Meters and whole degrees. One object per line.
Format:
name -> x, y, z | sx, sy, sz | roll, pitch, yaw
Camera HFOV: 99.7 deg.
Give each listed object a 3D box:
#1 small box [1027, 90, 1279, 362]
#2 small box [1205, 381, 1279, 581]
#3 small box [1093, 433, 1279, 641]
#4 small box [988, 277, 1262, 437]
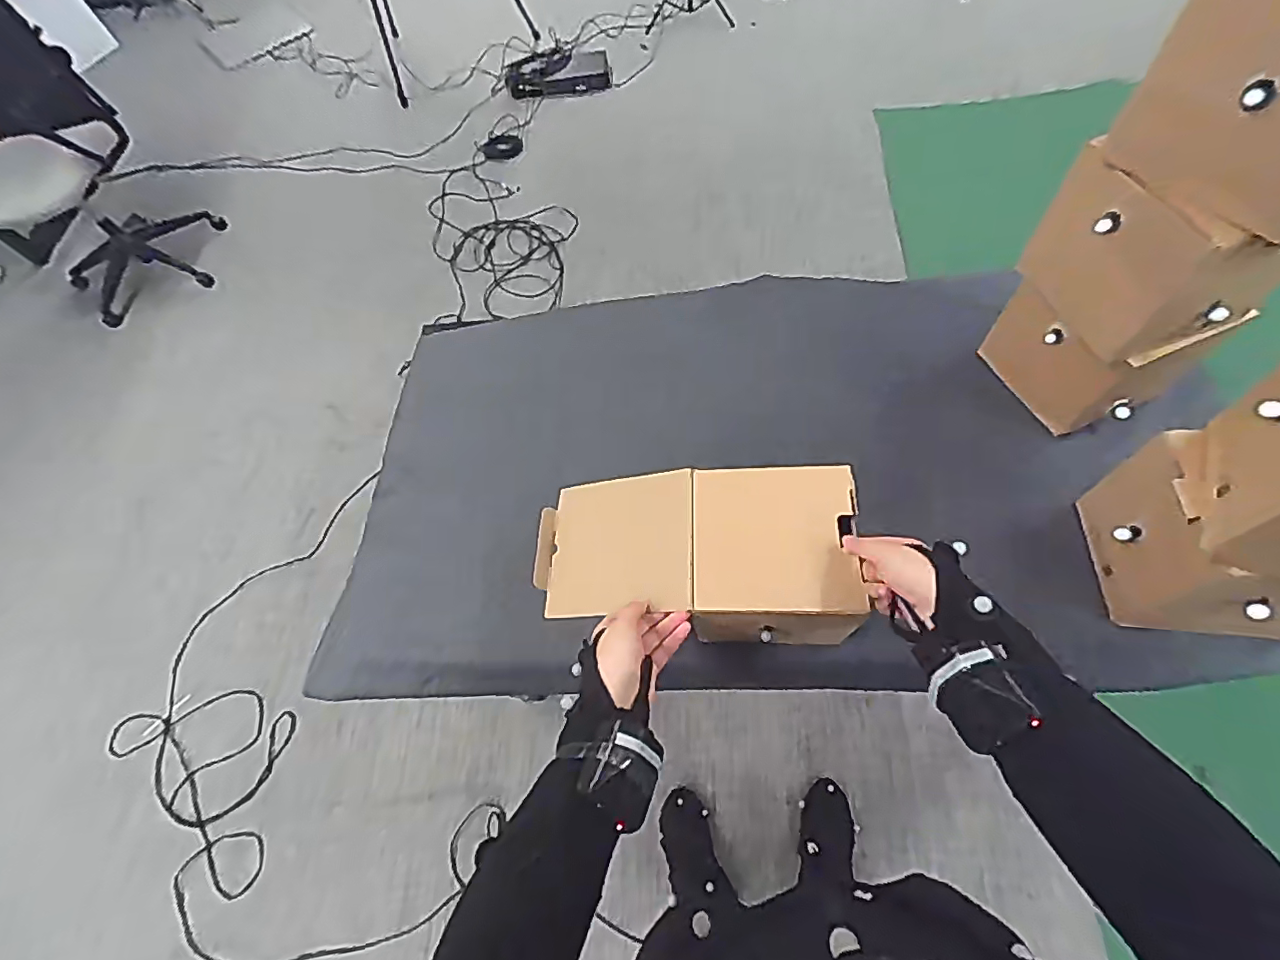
small box -> 0.567, -0.260, 0.576 | 0.168, 0.176, 0.179 | -20, 62, 2
small box -> 0.617, -0.002, 0.432 | 0.179, 0.176, 0.168 | 23, 65, 19
small box -> 0.635, 0.066, 0.580 | 0.179, 0.176, 0.168 | 2, 60, 10
small box -> 0.613, -0.189, 0.719 | 0.168, 0.176, 0.179 | -23, 64, -1
